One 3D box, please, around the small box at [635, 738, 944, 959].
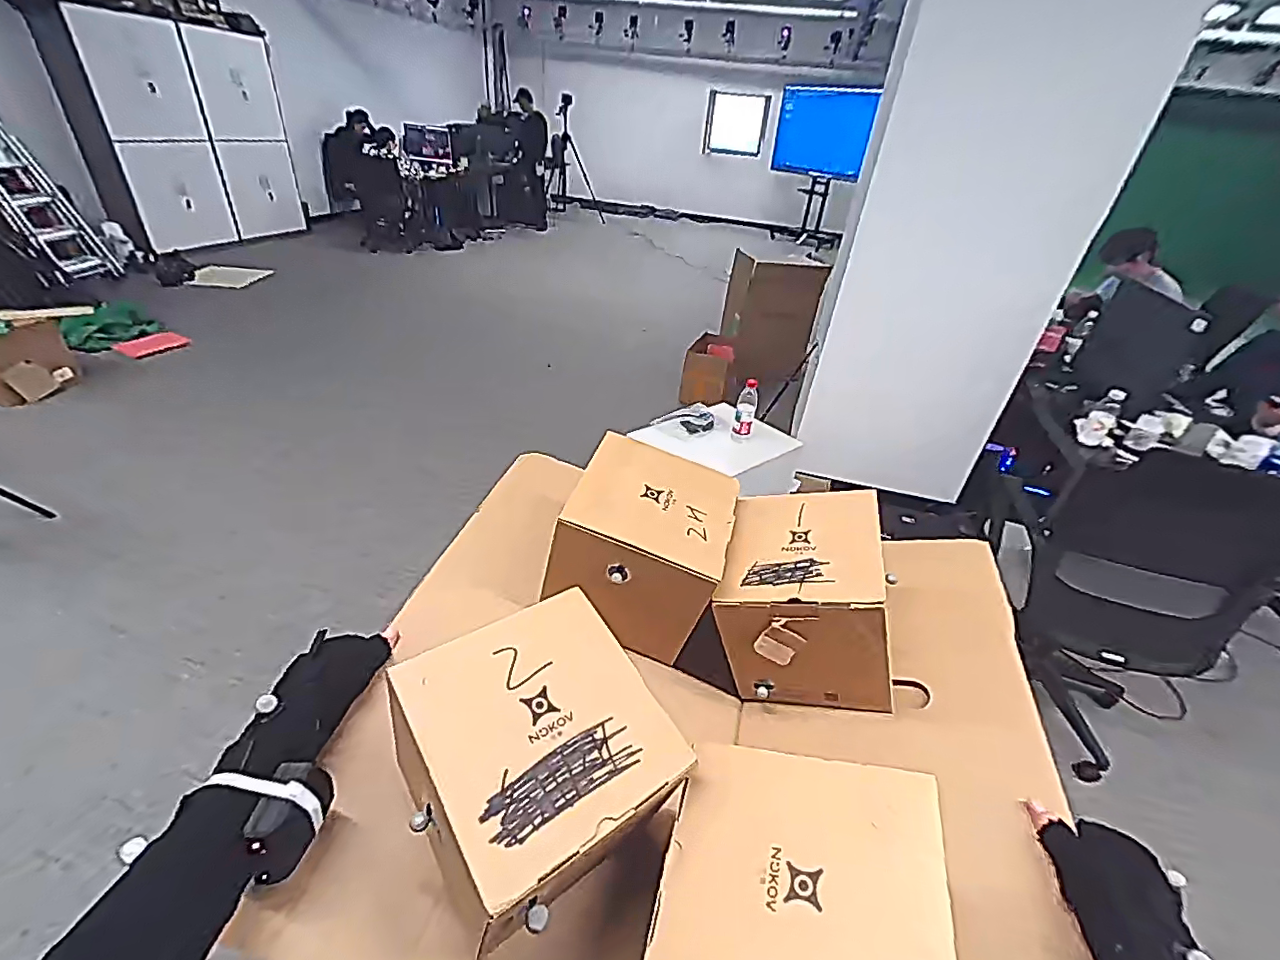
[{"bbox_3d":[0.118,0.318,0.390,0.179,0.176,0.168,-4,36,25],"label":"small box"}]
